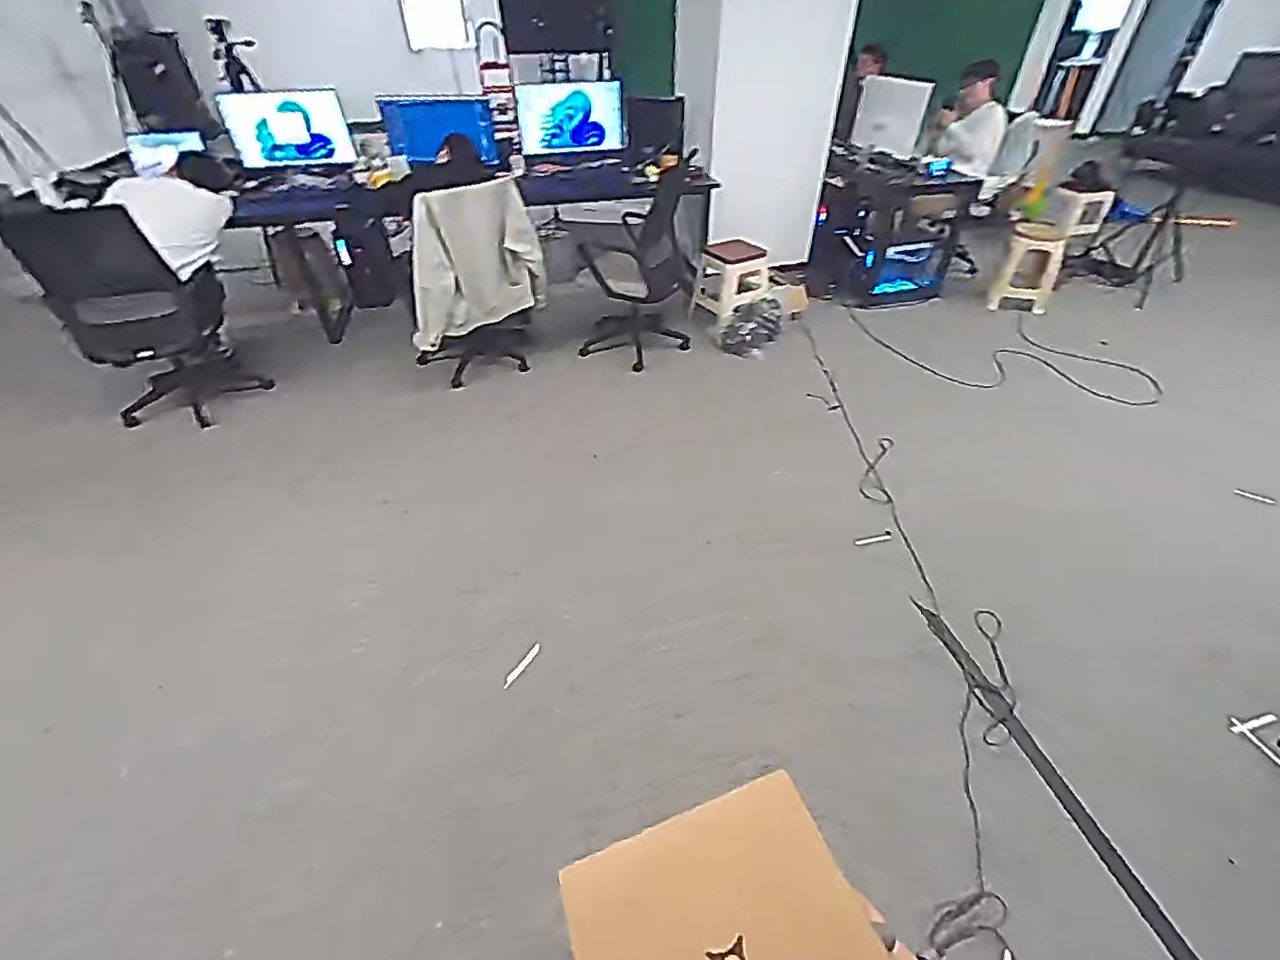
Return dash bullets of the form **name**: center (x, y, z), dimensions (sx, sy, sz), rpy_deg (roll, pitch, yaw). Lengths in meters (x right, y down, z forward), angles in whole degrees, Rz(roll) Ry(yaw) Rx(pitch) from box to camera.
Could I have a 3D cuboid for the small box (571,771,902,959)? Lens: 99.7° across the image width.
- **small box**: center (0.066, 0.332, 0.340), dimensions (0.168, 0.176, 0.179), rpy_deg (-18, 38, -11)
